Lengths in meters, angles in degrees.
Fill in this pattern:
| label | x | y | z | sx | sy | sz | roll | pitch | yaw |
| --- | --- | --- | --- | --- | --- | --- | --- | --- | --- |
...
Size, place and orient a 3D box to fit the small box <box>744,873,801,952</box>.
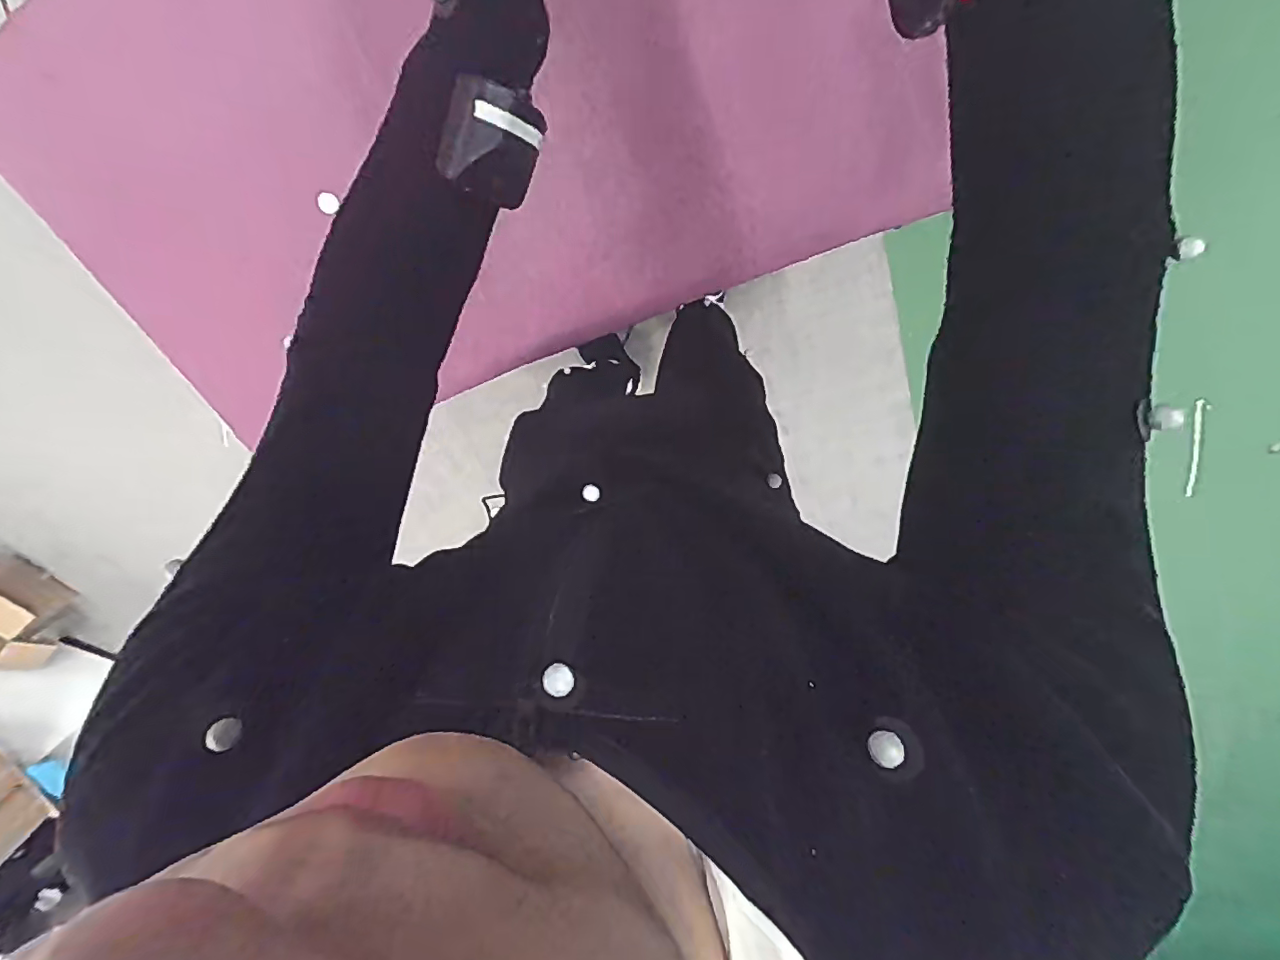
| label | x | y | z | sx | sy | sz | roll | pitch | yaw |
| --- | --- | --- | --- | --- | --- | --- | --- | --- | --- |
| small box | 0.477 | 1.550 | 1.941 | 0.168 | 0.176 | 0.179 | -13 | 118 | 19 |
